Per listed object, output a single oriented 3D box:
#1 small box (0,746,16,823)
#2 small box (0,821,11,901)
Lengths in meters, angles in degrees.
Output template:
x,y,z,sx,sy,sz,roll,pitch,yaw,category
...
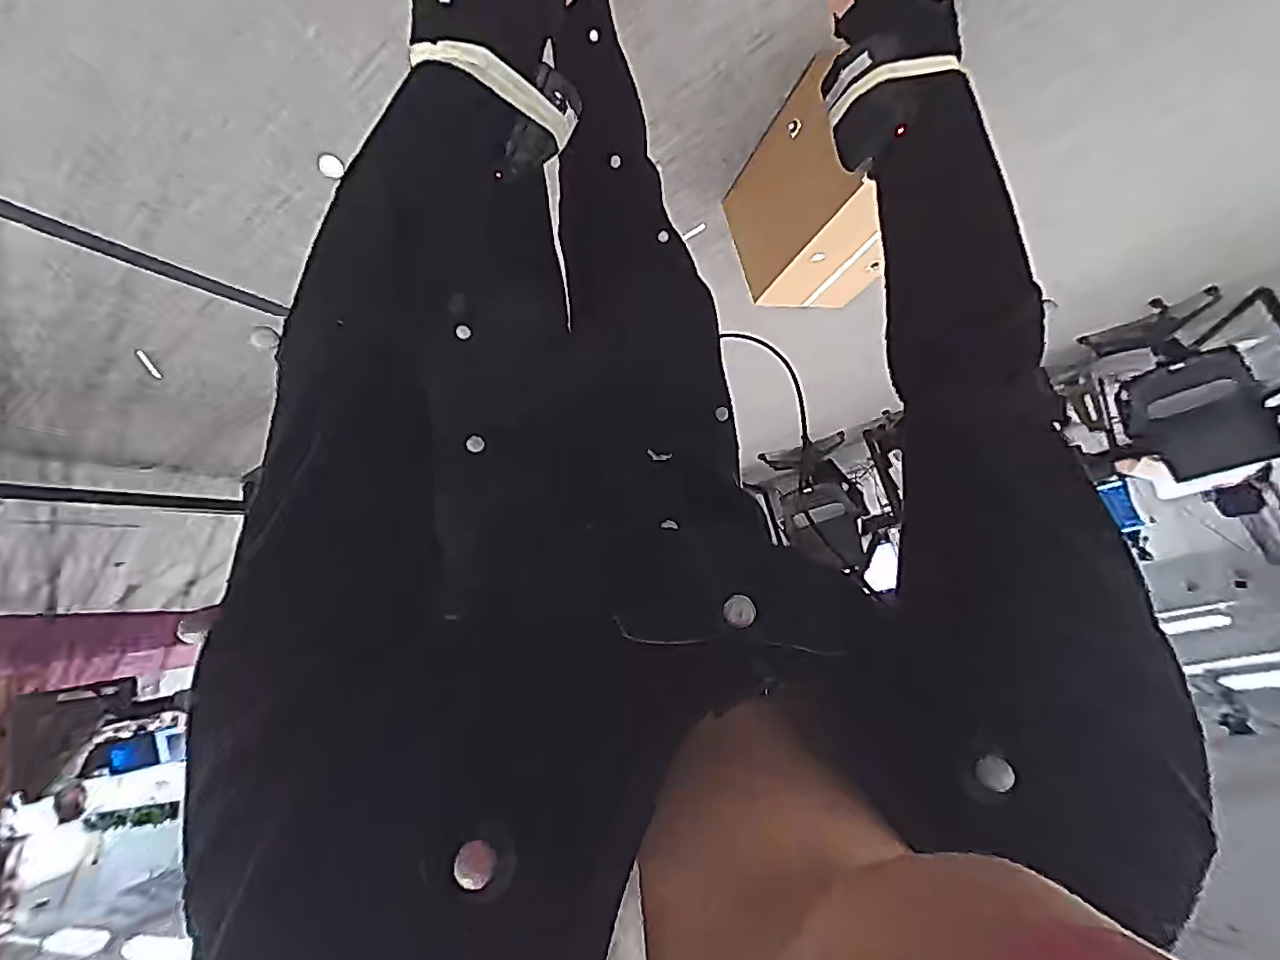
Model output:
x,y,z,sx,sy,sz,roll,pitch,yaw,category
-1.606,0.739,1.257,0.168,0.176,0.179,-22,164,30,small box
-1.573,0.895,1.223,0.168,0.176,0.179,-22,164,29,small box
